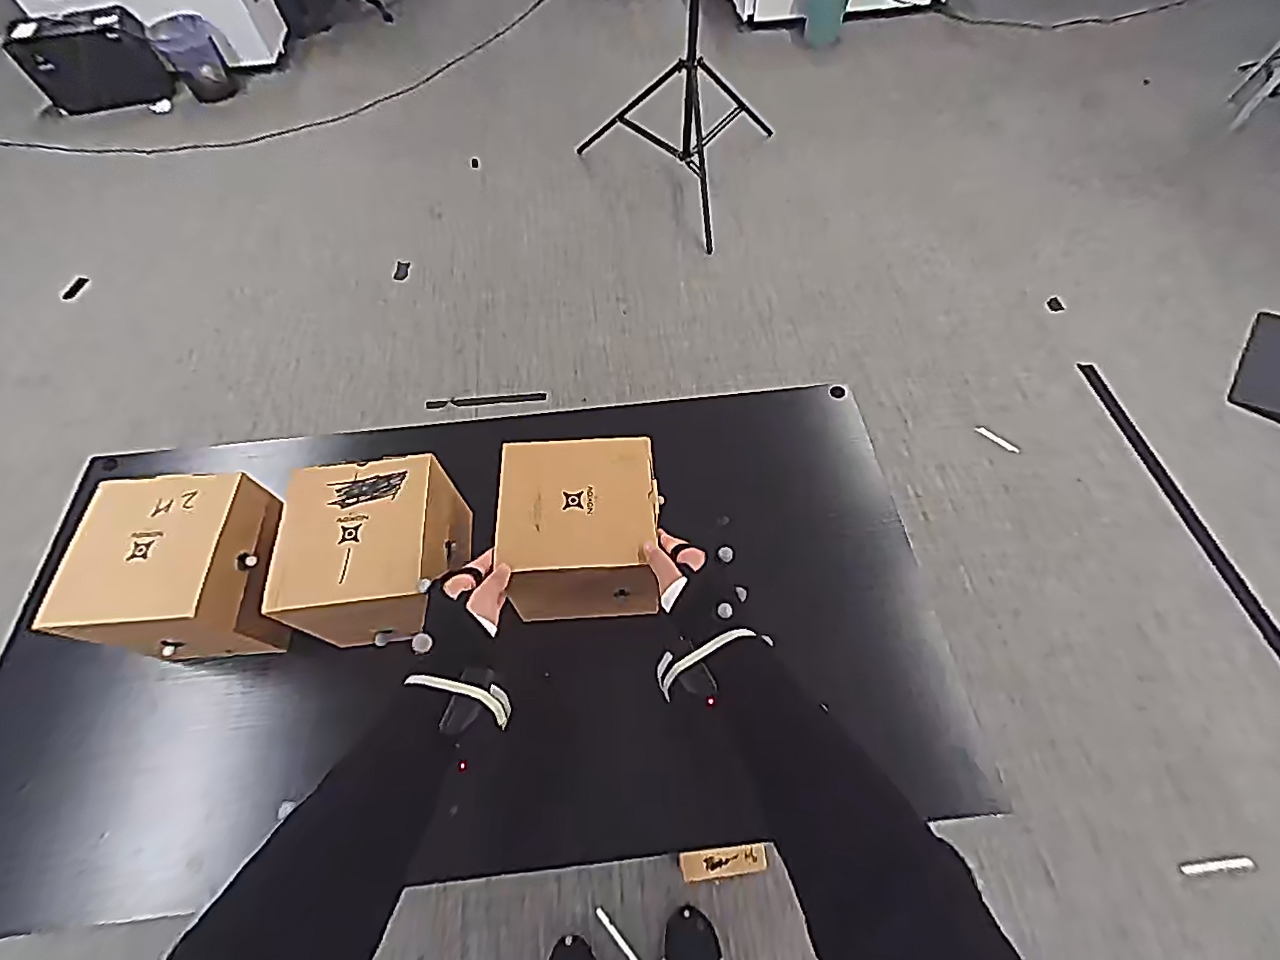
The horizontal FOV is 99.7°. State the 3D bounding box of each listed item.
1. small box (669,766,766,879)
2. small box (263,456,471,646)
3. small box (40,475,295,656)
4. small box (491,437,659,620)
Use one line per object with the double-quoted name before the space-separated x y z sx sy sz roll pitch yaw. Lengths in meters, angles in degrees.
"small box" 0.154 0.716 1.138 0.168 0.176 0.179 -8 60 -1
"small box" -0.316 0.093 0.671 0.168 0.176 0.179 -7 61 -2
"small box" -0.540 0.113 0.666 0.168 0.176 0.179 -3 60 -1
"small box" -0.071 0.065 0.666 0.179 0.176 0.168 -4 58 -1
